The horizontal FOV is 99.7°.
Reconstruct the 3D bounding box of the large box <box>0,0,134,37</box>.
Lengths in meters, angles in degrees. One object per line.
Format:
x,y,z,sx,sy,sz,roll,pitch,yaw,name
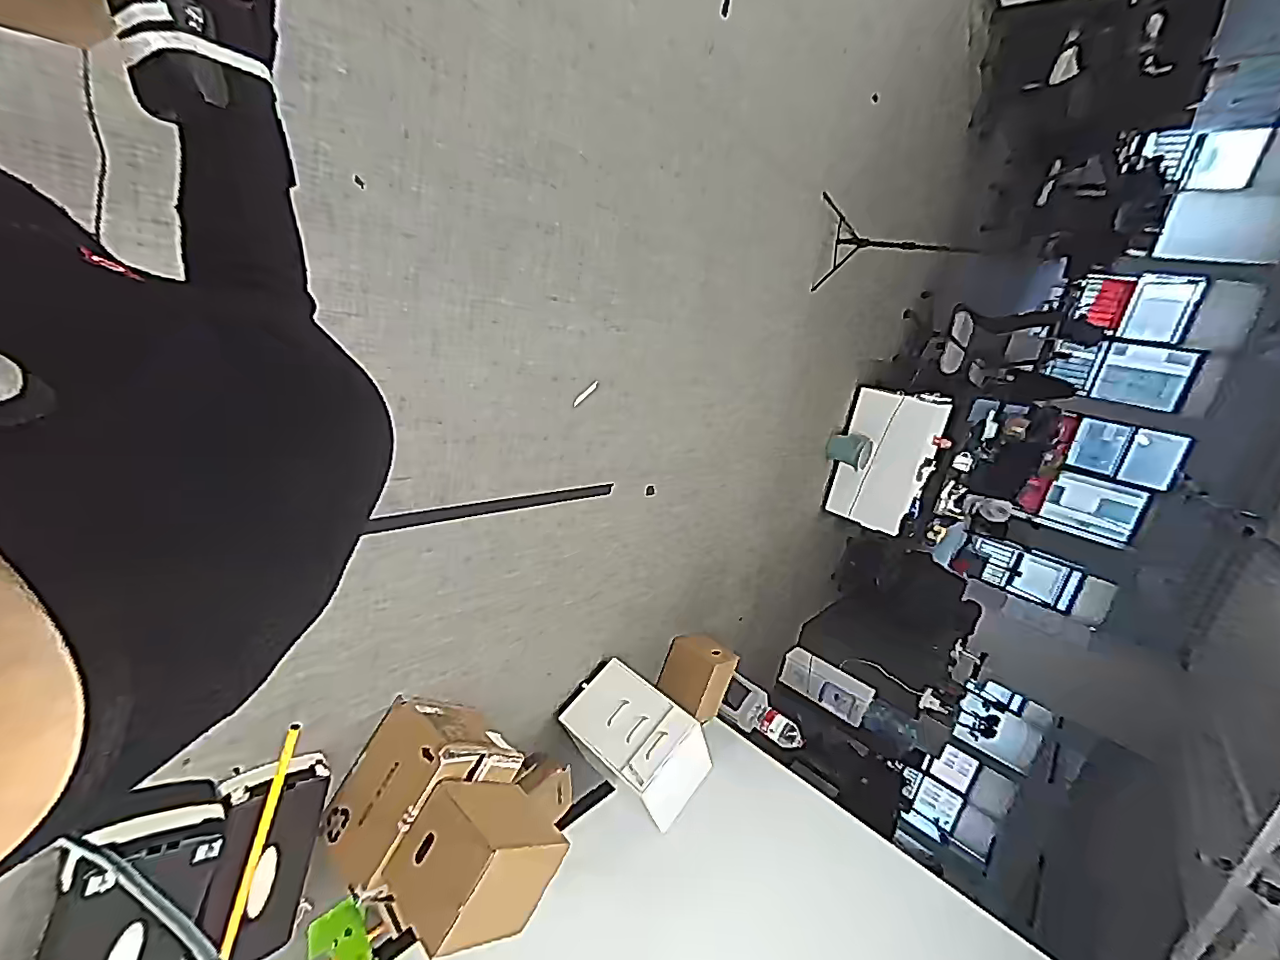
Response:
-0.549,-0.476,0.250,0.408,0.320,0.320,-21,126,-48,large box
